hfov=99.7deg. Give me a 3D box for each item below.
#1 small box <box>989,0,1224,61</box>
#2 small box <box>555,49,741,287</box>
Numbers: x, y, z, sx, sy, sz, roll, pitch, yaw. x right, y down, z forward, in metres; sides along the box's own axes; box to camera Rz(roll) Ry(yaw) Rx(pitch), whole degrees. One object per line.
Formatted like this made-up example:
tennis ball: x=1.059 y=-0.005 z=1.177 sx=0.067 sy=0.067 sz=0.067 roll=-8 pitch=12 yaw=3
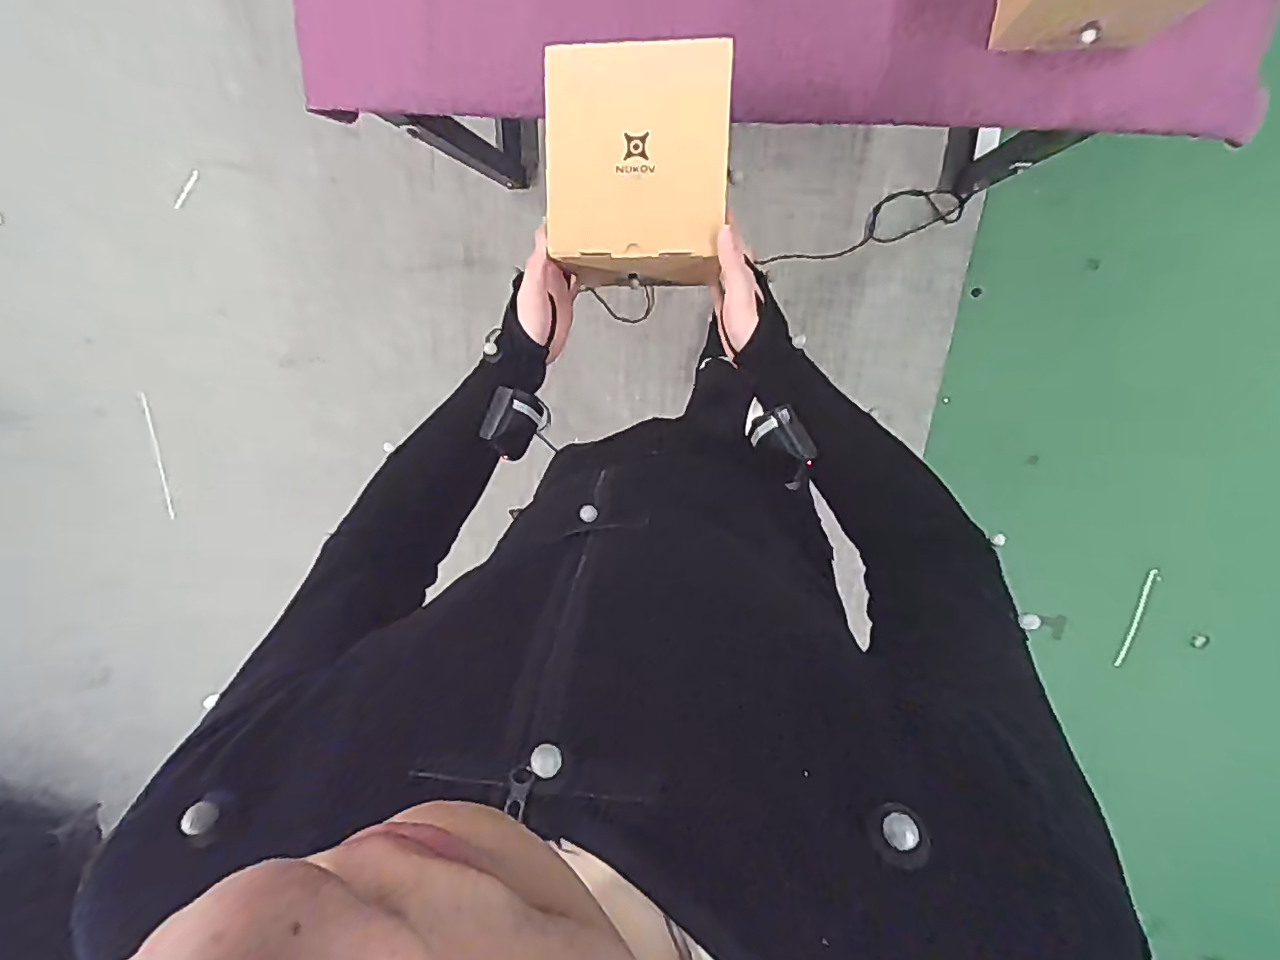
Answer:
small box: x=0.485 y=-0.558 z=0.540 sx=0.168 sy=0.176 sz=0.179 roll=6 pitch=109 yaw=8
small box: x=0.010 y=-0.304 z=0.564 sx=0.168 sy=0.176 sz=0.179 roll=1 pitch=104 yaw=5
